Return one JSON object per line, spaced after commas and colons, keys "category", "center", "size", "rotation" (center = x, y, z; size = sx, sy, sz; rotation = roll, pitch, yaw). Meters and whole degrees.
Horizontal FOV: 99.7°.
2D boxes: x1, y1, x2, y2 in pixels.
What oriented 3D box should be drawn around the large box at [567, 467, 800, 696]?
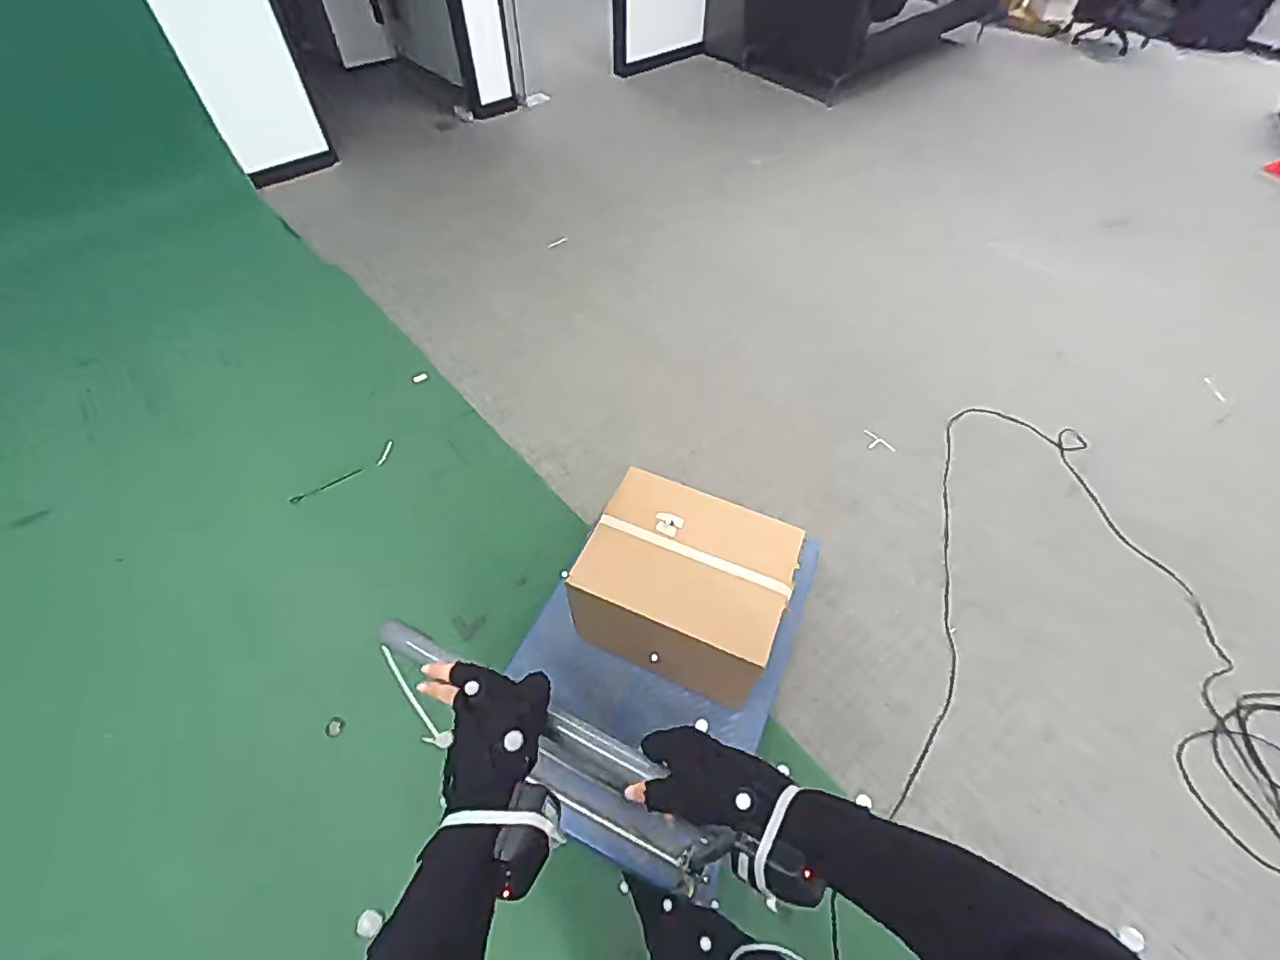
{"category": "large box", "center": [0.097, 0.232, 1.215], "size": [0.408, 0.320, 0.320], "rotation": [20, 56, 13]}
